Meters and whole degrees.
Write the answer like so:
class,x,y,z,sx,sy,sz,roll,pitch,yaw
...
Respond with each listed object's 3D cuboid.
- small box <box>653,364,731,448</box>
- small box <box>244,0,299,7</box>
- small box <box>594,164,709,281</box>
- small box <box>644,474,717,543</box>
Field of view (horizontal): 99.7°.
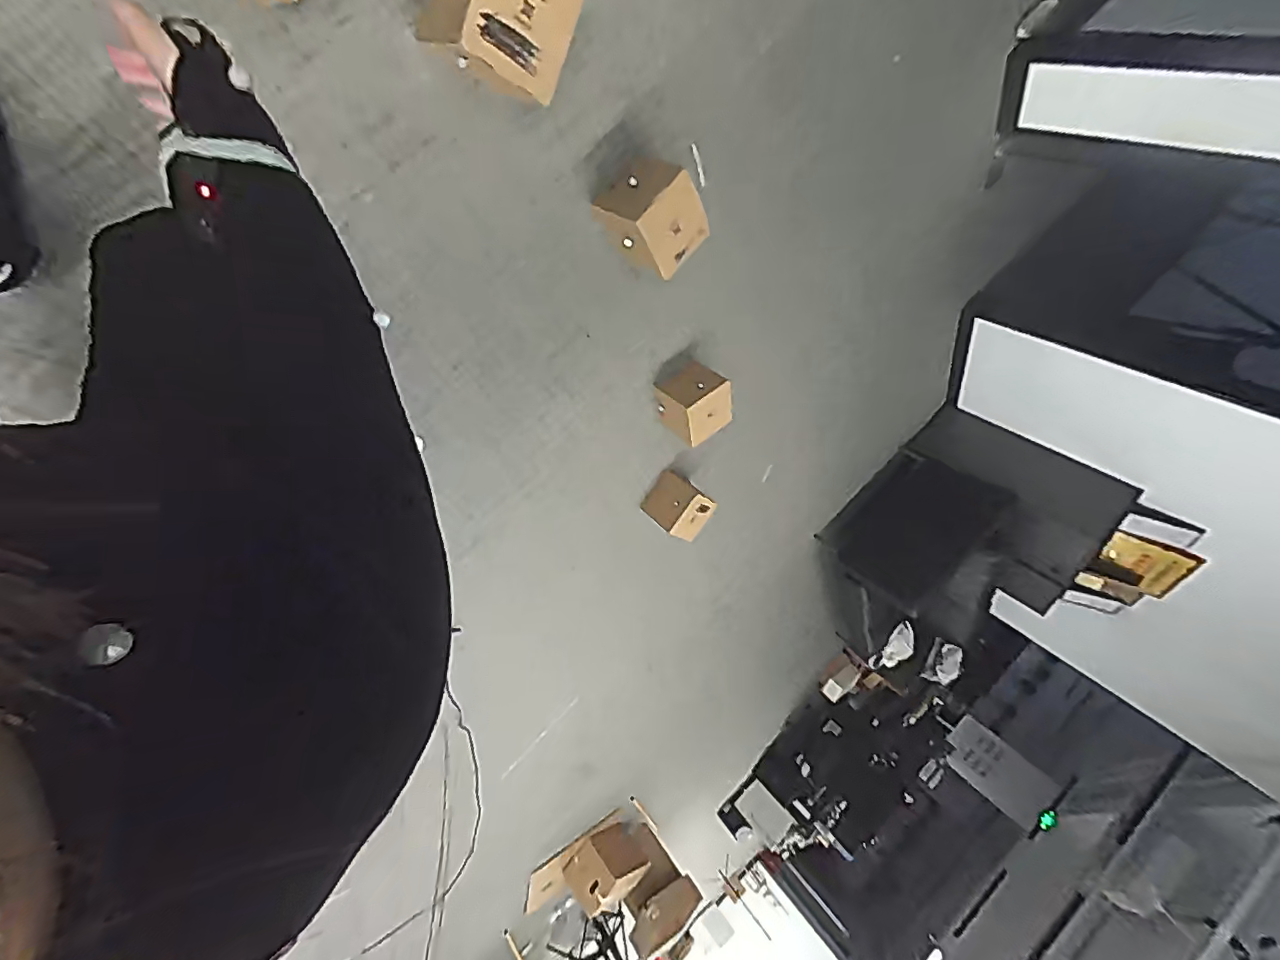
class,x,y,z,sx,sy,sz,roll,pitch,yaw
small box,0.166,-0.238,1.705,0.179,0.176,0.168,-36,141,-19
small box,-0.505,-0.687,0.619,0.168,0.176,0.179,-8,126,-43
small box,0.024,-0.599,1.247,0.168,0.176,0.179,-48,143,-3
small box,0.144,0.102,1.971,0.179,0.176,0.168,-55,143,6
